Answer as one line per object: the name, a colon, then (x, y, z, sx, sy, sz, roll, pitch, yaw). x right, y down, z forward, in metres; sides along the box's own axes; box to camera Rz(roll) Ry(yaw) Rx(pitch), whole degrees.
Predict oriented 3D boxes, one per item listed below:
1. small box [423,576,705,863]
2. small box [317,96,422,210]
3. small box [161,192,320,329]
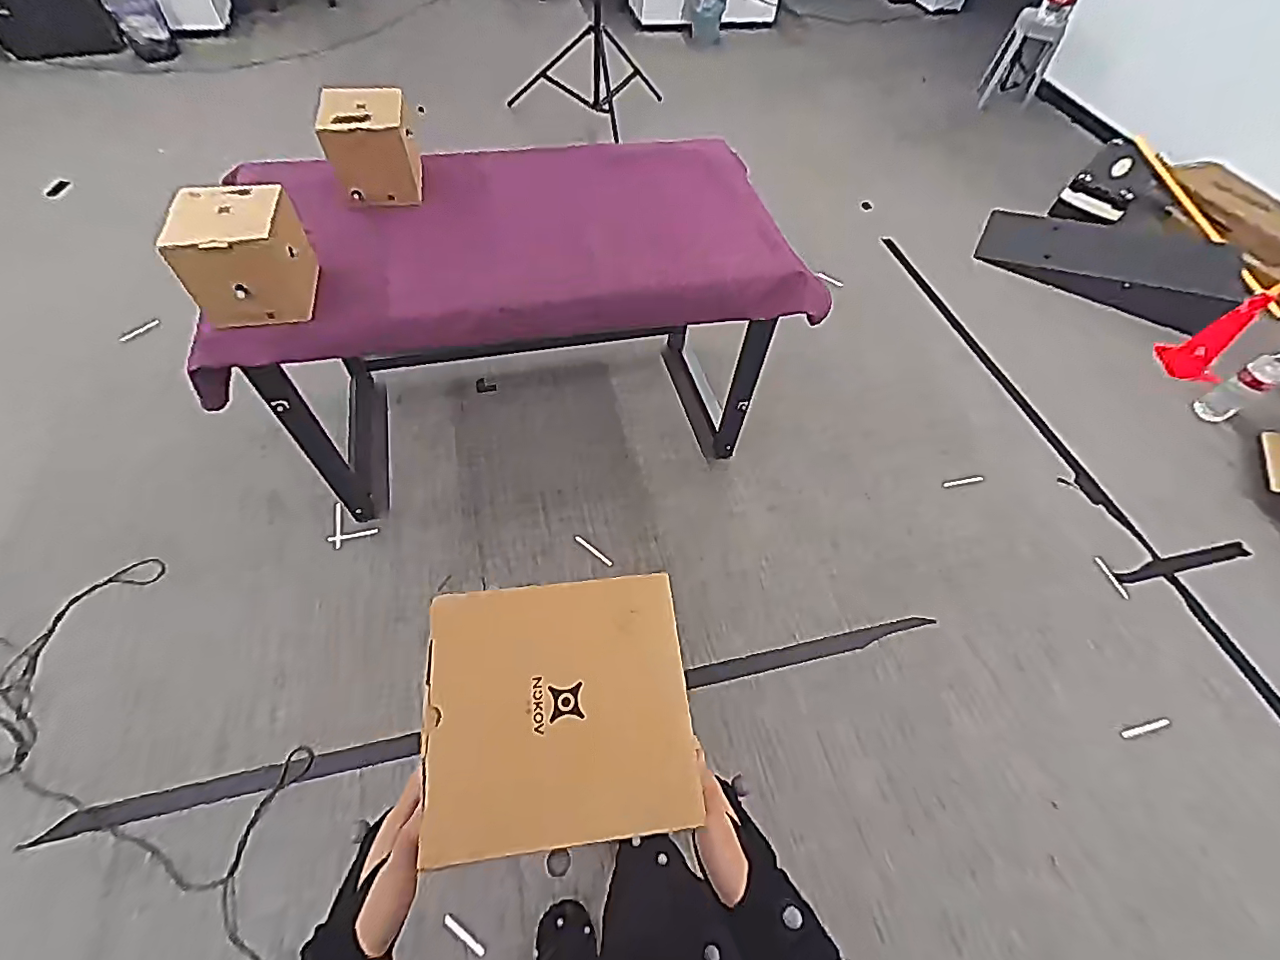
small box: (-0.057, 0.186, 0.437, 0.179, 0.176, 0.168, -5, 63, -5)
small box: (-0.597, -0.730, 1.216, 0.168, 0.176, 0.179, -8, 58, -10)
small box: (-0.709, -0.392, 0.985, 0.168, 0.176, 0.179, -8, 58, -11)
